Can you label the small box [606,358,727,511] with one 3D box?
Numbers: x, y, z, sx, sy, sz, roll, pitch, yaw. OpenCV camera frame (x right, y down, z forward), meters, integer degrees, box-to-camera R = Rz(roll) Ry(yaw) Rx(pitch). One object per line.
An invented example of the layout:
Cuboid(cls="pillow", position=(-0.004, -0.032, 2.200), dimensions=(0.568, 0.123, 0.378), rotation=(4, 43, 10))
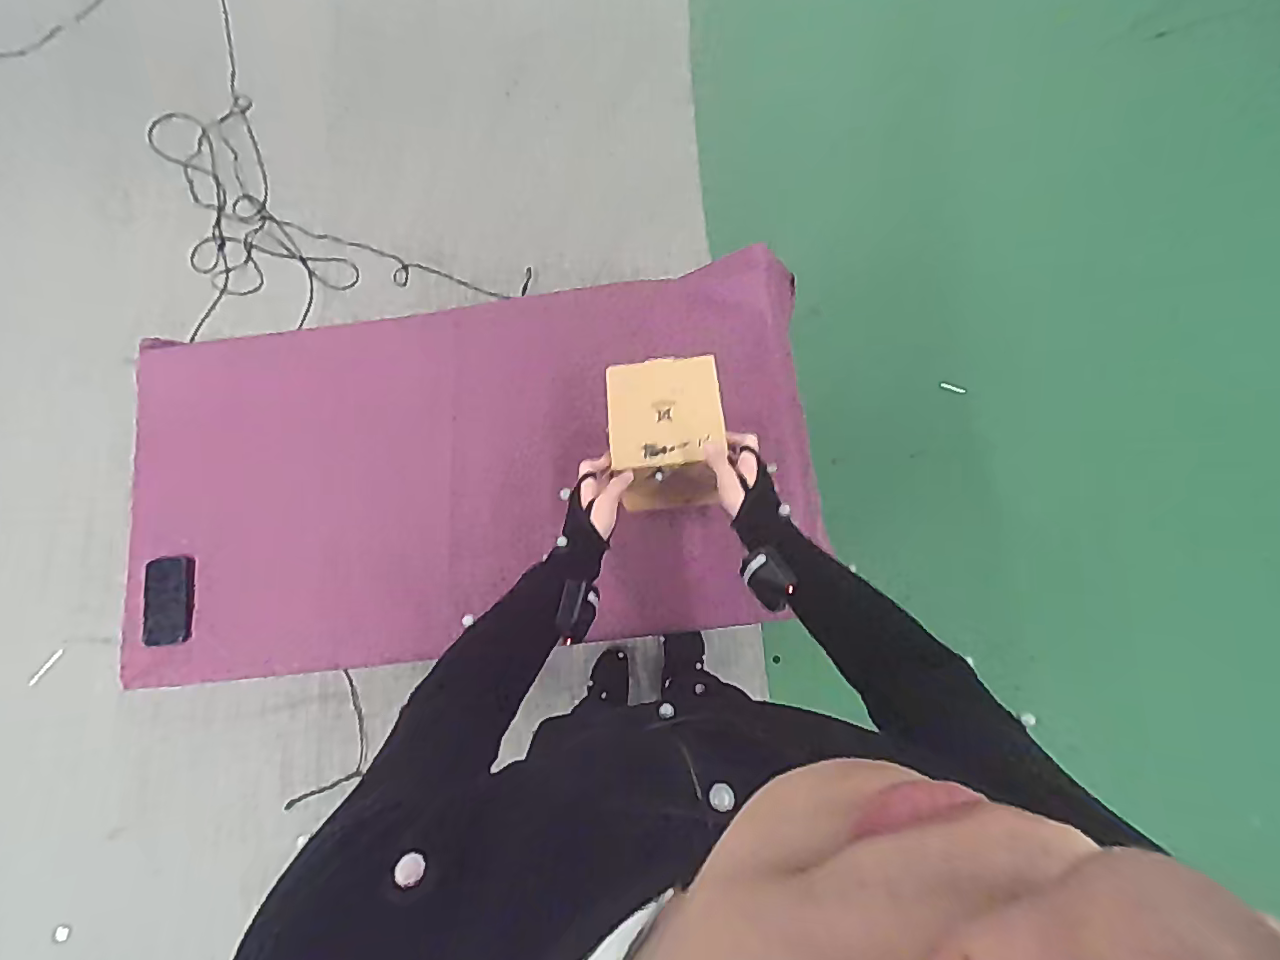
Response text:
Cuboid(cls="small box", position=(0.041, -0.064, 0.841), dimensions=(0.168, 0.176, 0.179), rotation=(-6, 68, 5))
